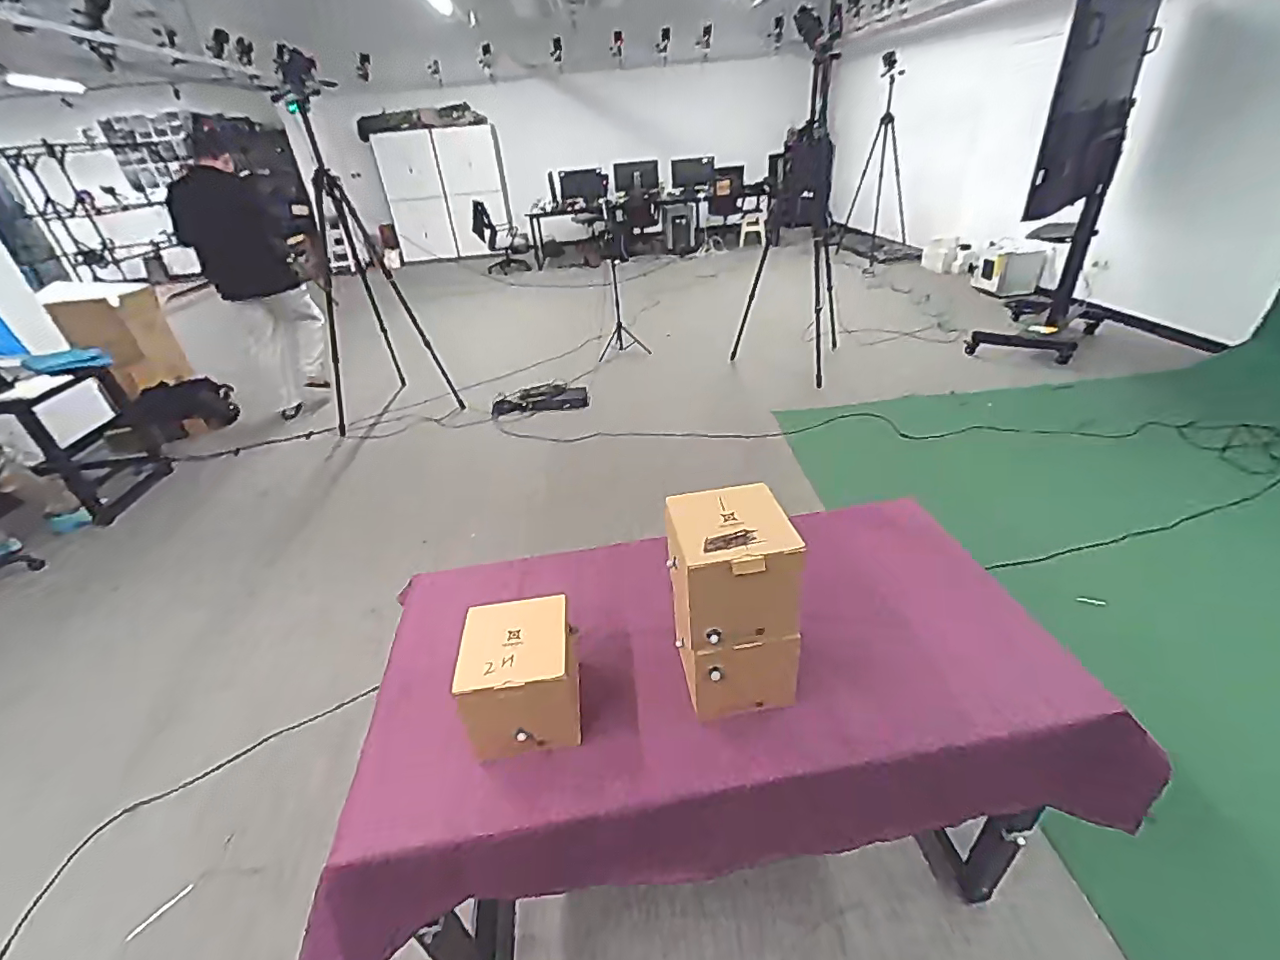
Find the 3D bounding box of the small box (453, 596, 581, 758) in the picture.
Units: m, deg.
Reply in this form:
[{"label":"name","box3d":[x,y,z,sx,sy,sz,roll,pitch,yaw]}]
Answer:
[{"label":"small box","box3d":[-0.191,0.320,0.890,0.168,0.176,0.179,-8,32,-3]}]

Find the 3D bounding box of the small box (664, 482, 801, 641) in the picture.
[{"label":"small box","box3d":[0.137,0.128,0.833,0.168,0.176,0.179,-8,30,-4]}]
